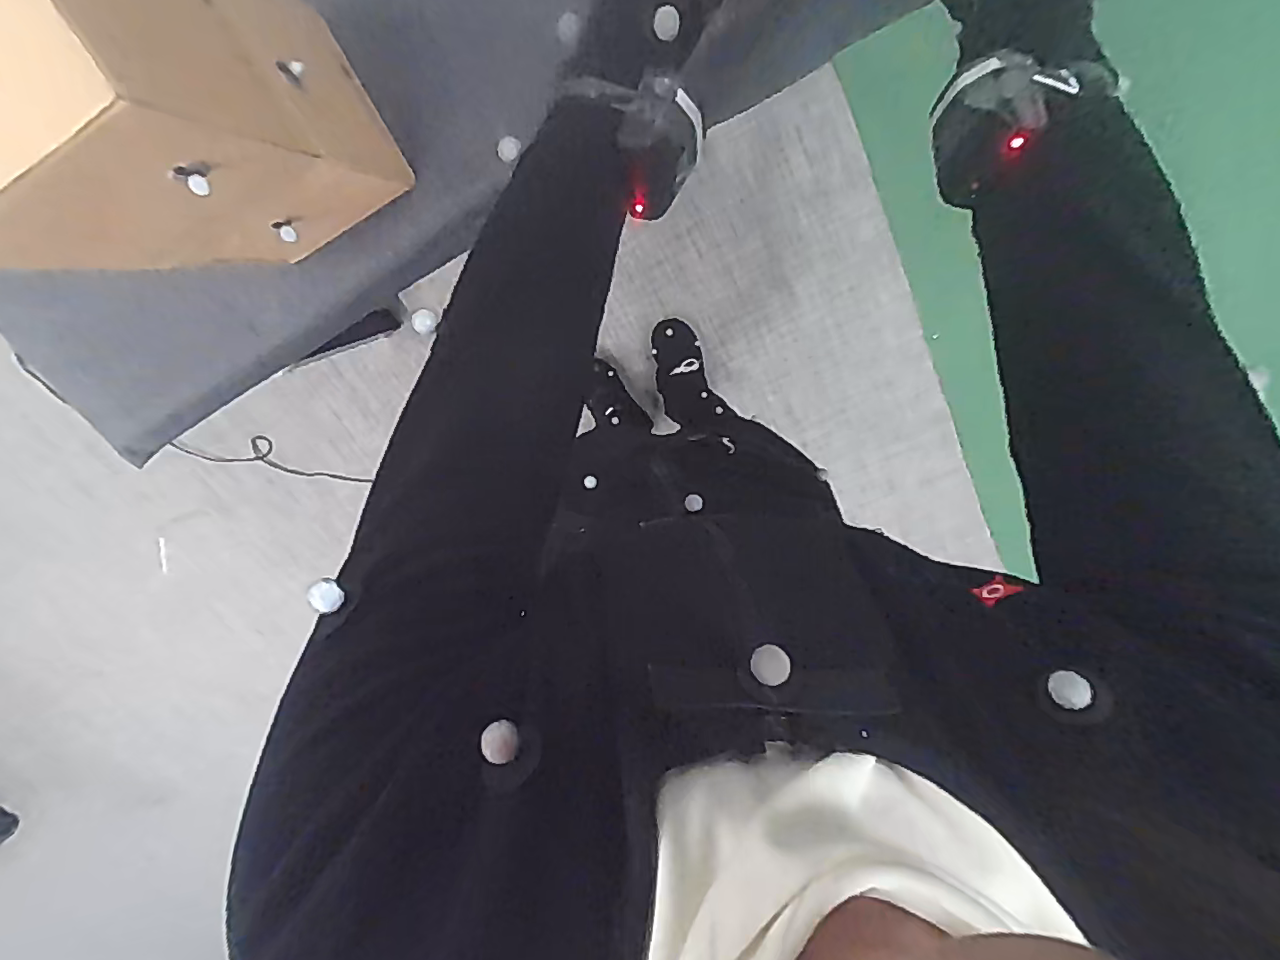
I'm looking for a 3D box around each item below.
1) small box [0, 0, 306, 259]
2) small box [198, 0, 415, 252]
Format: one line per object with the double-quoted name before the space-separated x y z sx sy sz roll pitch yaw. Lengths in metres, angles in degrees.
"small box" -0.355 -0.258 0.341 0.179 0.176 0.168 -24 107 14
"small box" -0.346 -0.322 0.490 0.179 0.176 0.168 -24 109 13
